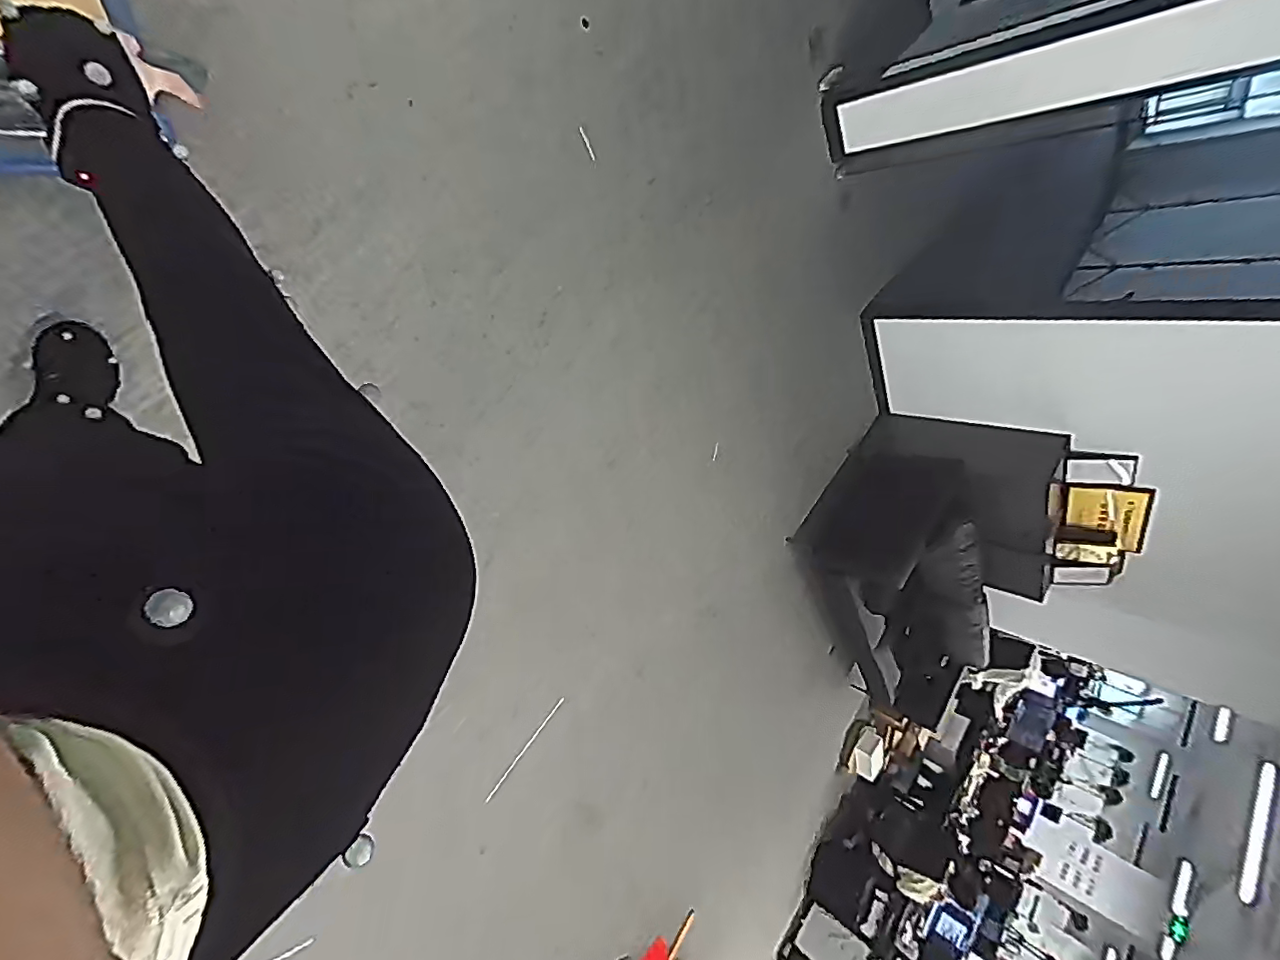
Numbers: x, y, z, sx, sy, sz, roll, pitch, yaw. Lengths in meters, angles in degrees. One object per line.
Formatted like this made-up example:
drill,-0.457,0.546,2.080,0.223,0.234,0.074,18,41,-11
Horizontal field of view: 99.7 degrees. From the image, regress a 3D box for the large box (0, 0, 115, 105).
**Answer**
large box,-0.978,-0.764,0.701,0.320,0.320,0.408,-26,119,-37
